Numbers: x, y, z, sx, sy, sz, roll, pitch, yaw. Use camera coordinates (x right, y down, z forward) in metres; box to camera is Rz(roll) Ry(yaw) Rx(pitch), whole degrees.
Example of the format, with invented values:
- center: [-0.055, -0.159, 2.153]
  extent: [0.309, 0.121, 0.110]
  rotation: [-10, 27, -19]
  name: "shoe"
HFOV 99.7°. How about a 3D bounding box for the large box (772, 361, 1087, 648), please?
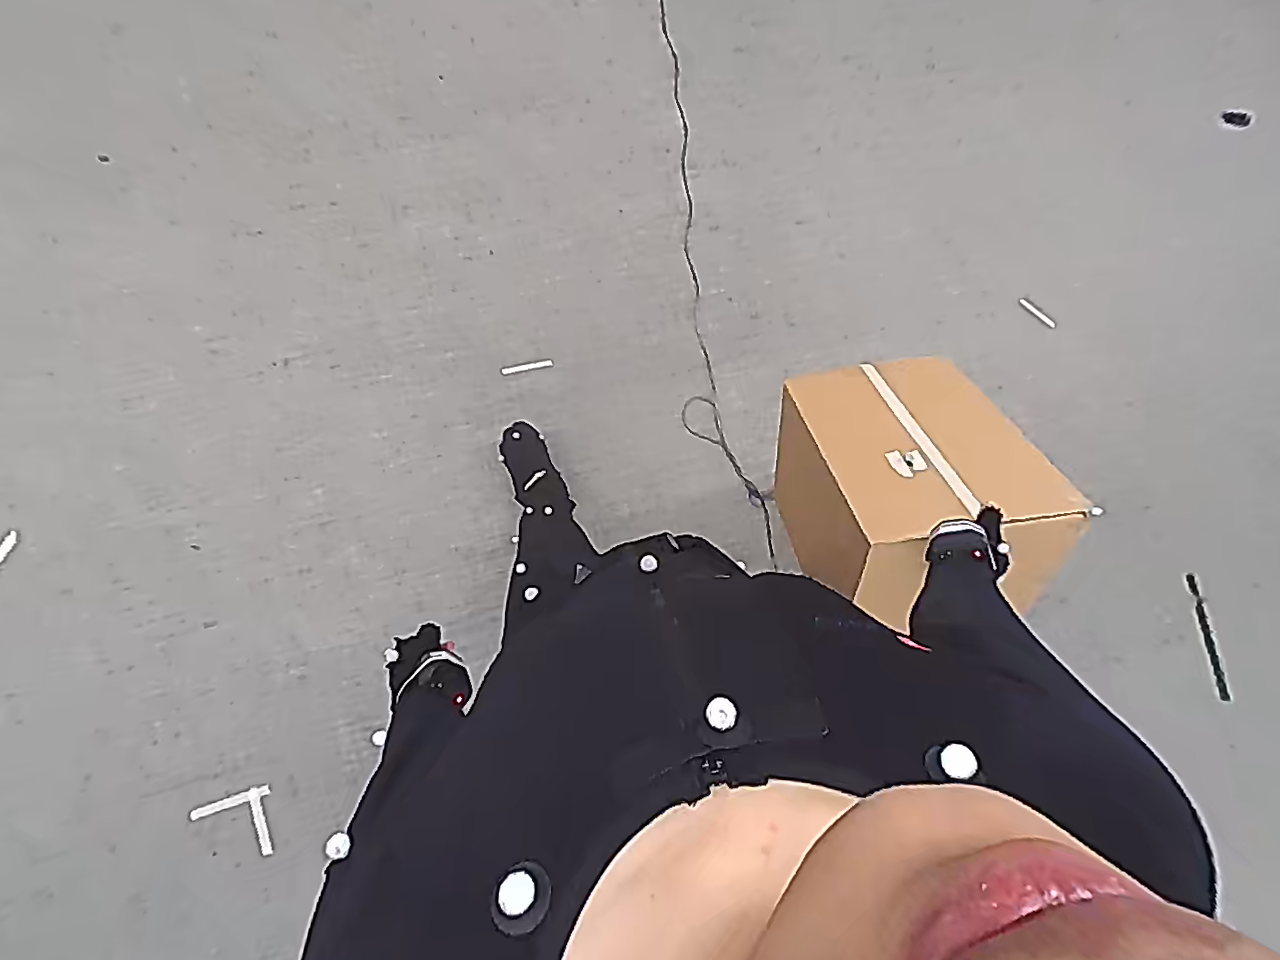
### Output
- center: [0.459, 0.036, 0.989]
  extent: [0.320, 0.320, 0.408]
  rotation: [-9, 45, 0]
  name: "large box"
